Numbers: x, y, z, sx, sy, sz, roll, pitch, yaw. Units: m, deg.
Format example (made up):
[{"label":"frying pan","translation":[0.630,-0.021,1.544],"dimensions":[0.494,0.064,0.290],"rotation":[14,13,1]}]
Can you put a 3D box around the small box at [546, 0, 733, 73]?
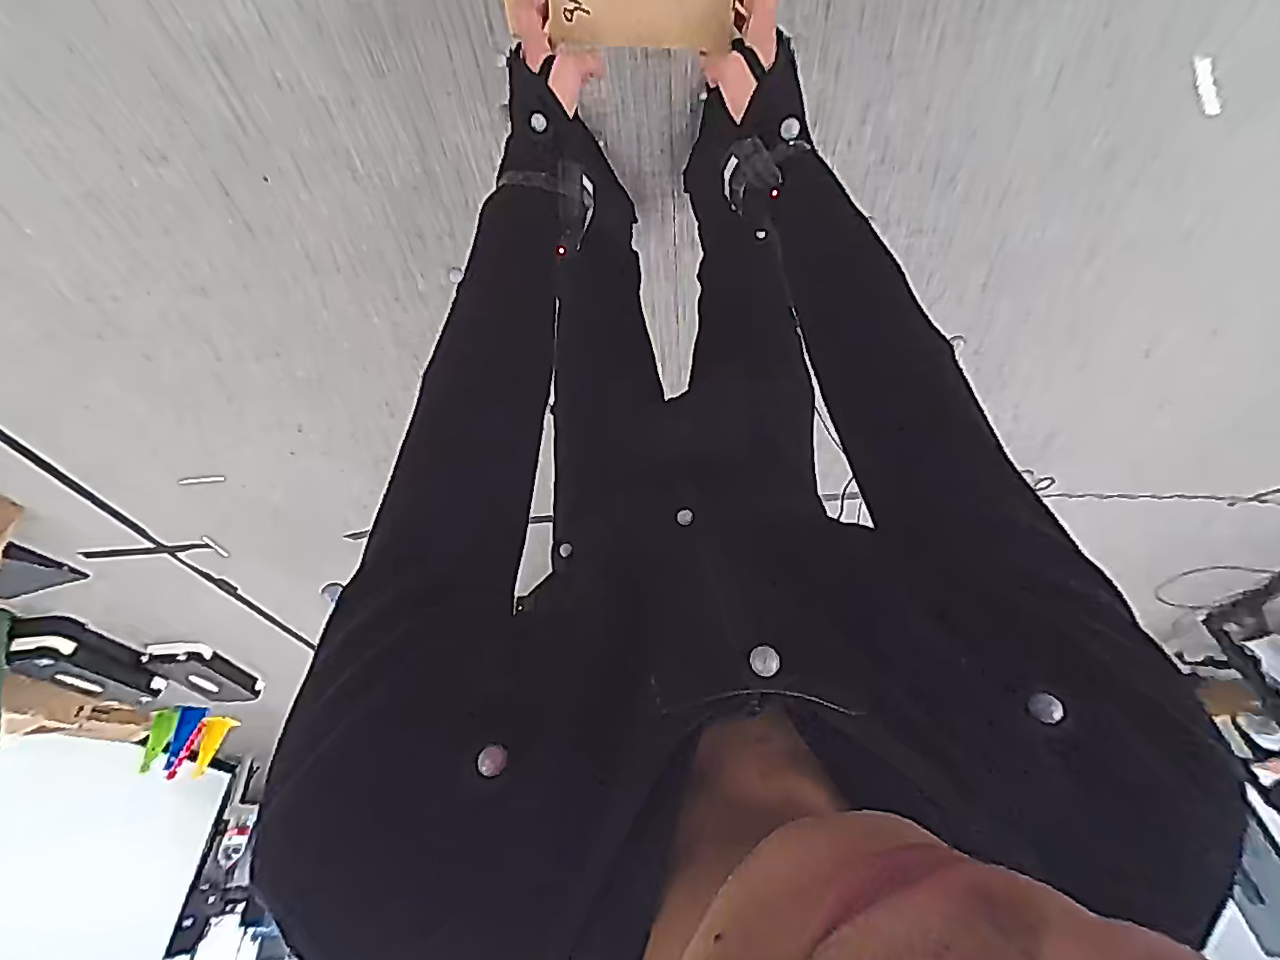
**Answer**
[{"label":"small box","translation":[0.000,-0.527,0.531],"dimensions":[0.179,0.176,0.168],"rotation":[2,138,-3]}]
